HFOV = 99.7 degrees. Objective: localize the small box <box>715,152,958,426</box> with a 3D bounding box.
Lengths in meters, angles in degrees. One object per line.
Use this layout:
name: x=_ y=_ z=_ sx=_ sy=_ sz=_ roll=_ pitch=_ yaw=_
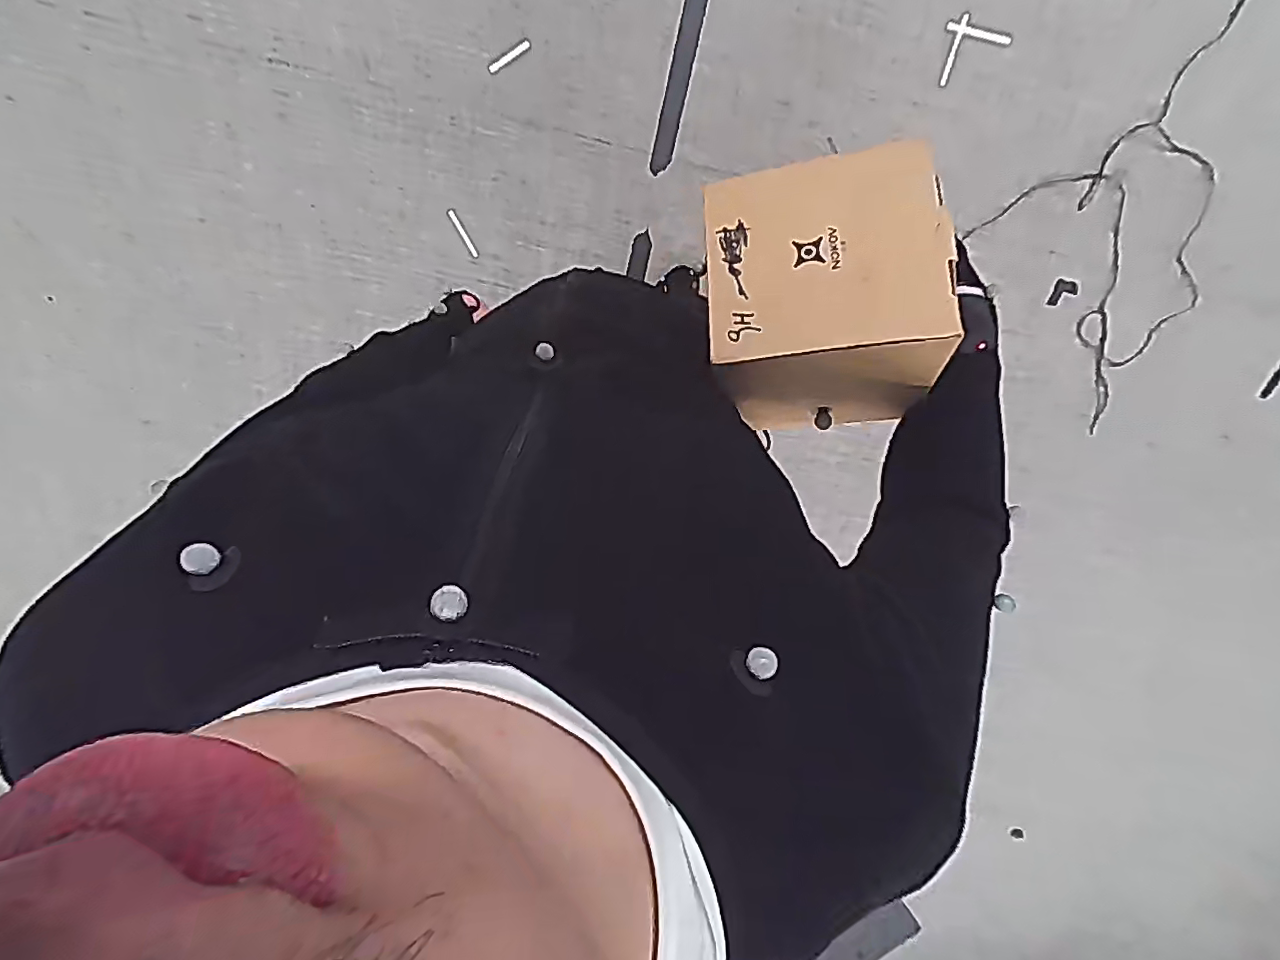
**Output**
small box: x=0.165 y=-0.157 z=0.501 sx=0.179 sy=0.176 sz=0.168 roll=-3 pitch=75 yaw=14
